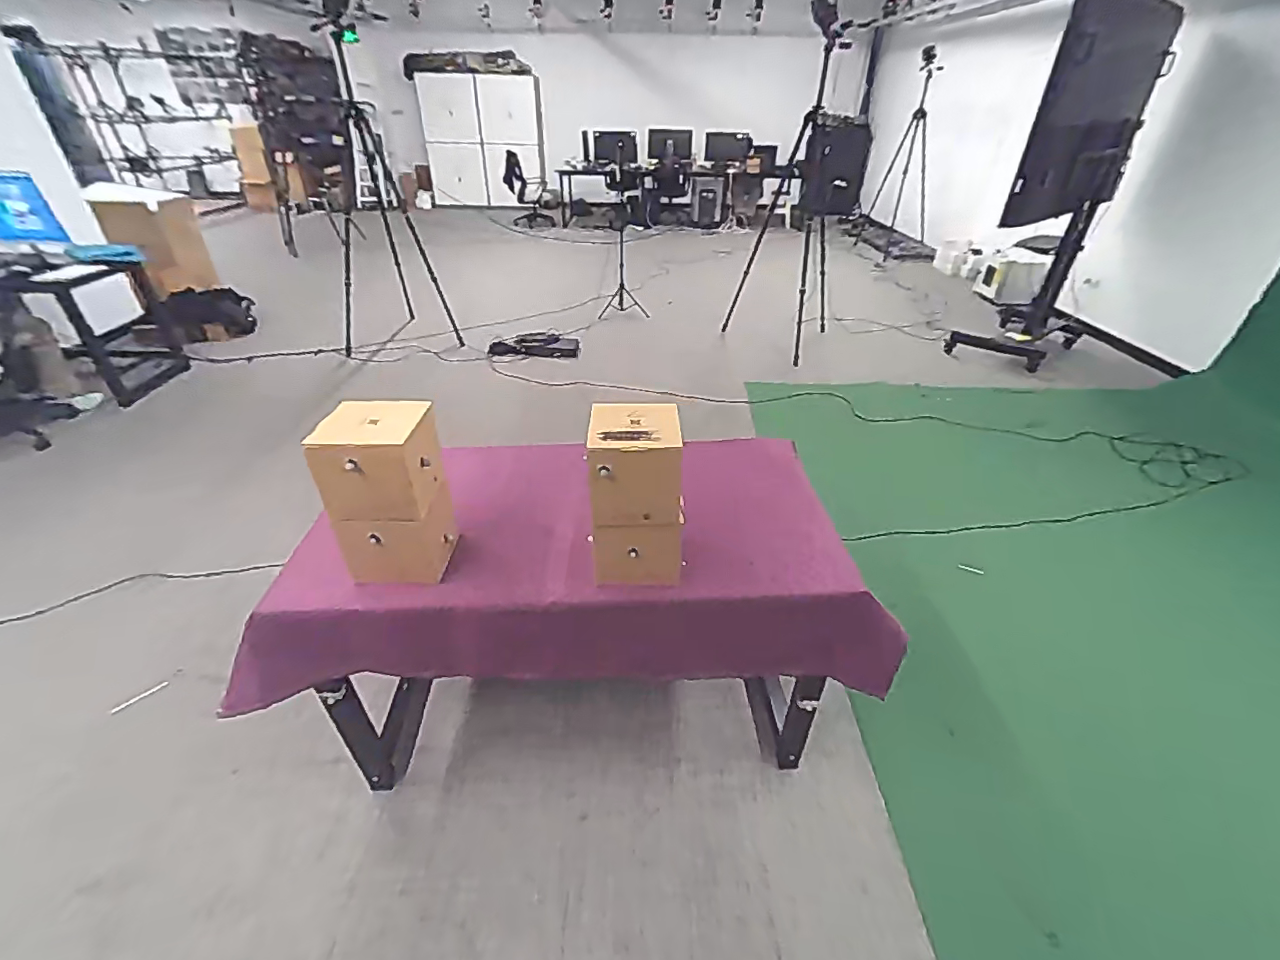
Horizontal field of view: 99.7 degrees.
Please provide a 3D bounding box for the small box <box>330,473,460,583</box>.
[{"bbox_3d":[-0.491,0.096,1.113,0.179,0.176,0.168,1,35,0],"label":"small box"}]

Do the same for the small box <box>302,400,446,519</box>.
[{"bbox_3d":[-0.484,-0.038,1.021,0.179,0.176,0.168,-1,35,0],"label":"small box"}]

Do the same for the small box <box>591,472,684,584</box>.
[{"bbox_3d":[-0.004,0.100,1.116,0.179,0.176,0.168,-1,35,0],"label":"small box"}]
